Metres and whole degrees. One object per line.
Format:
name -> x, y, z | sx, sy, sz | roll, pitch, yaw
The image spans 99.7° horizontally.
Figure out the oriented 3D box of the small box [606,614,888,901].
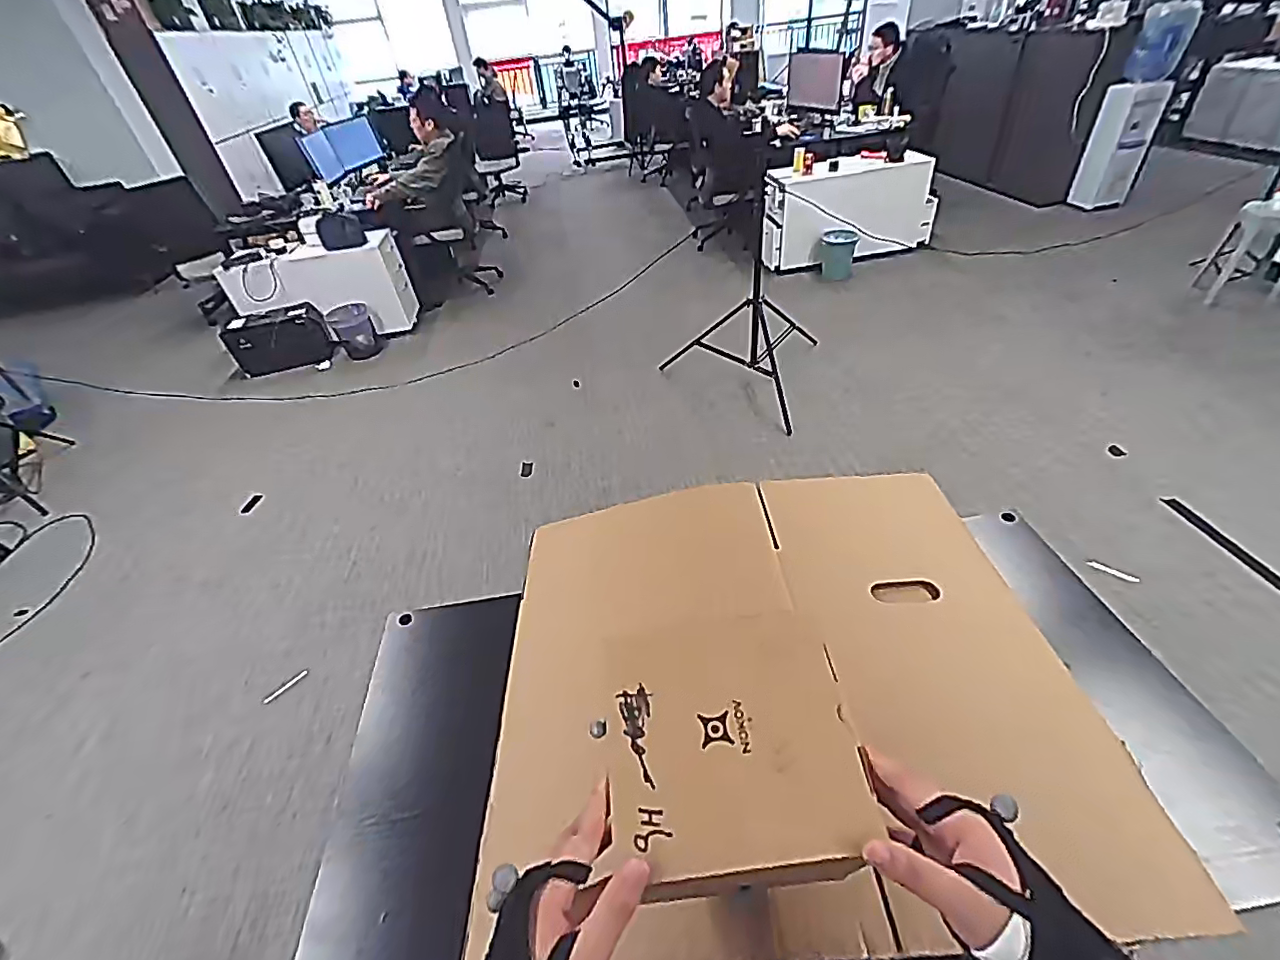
small box -> 0.069, 0.232, 0.450 | 0.179, 0.176, 0.168 | -7, 47, -1
